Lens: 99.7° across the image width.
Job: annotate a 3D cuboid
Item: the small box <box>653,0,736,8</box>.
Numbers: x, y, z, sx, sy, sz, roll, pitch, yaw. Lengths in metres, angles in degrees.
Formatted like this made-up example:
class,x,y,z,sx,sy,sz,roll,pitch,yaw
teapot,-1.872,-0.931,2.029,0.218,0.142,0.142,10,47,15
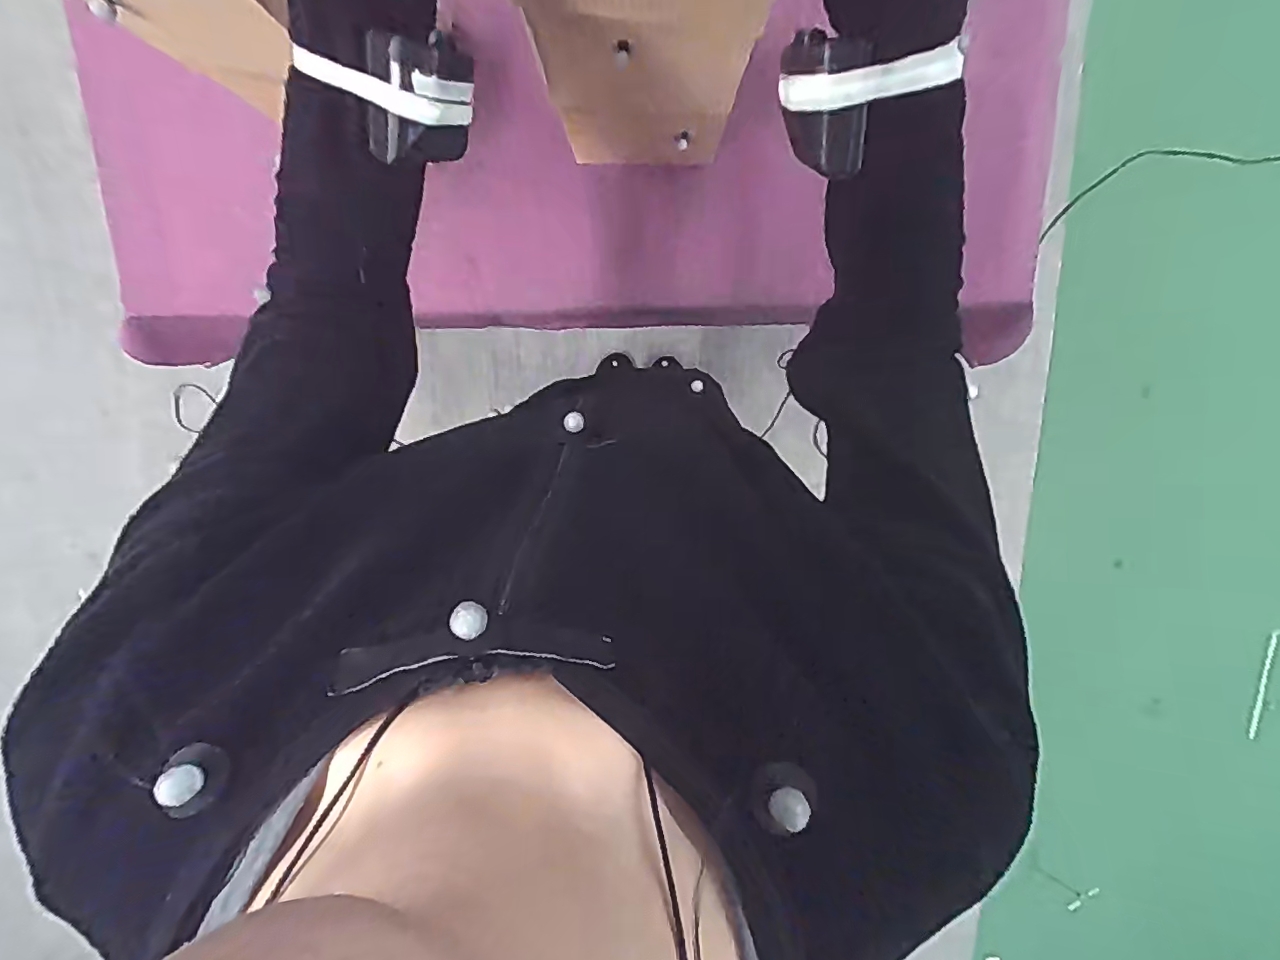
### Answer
class,x,y,z,sx,sy,sz,roll,pitch,yaw
small box,0.010,-0.392,0.276,0.179,0.176,0.168,6,101,-1

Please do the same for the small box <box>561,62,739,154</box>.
class,x,y,z,sx,sy,sz,roll,pitch,yaw
small box,0.011,-0.479,0.592,0.179,0.176,0.168,1,101,0

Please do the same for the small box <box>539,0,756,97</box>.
class,x,y,z,sx,sy,sz,roll,pitch,yaw
small box,0.008,-0.440,0.434,0.179,0.176,0.168,3,101,0

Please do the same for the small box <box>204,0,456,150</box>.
class,x,y,z,sx,sy,sz,roll,pitch,yaw
small box,-0.322,-0.492,0.590,0.179,0.176,0.168,10,101,-3
